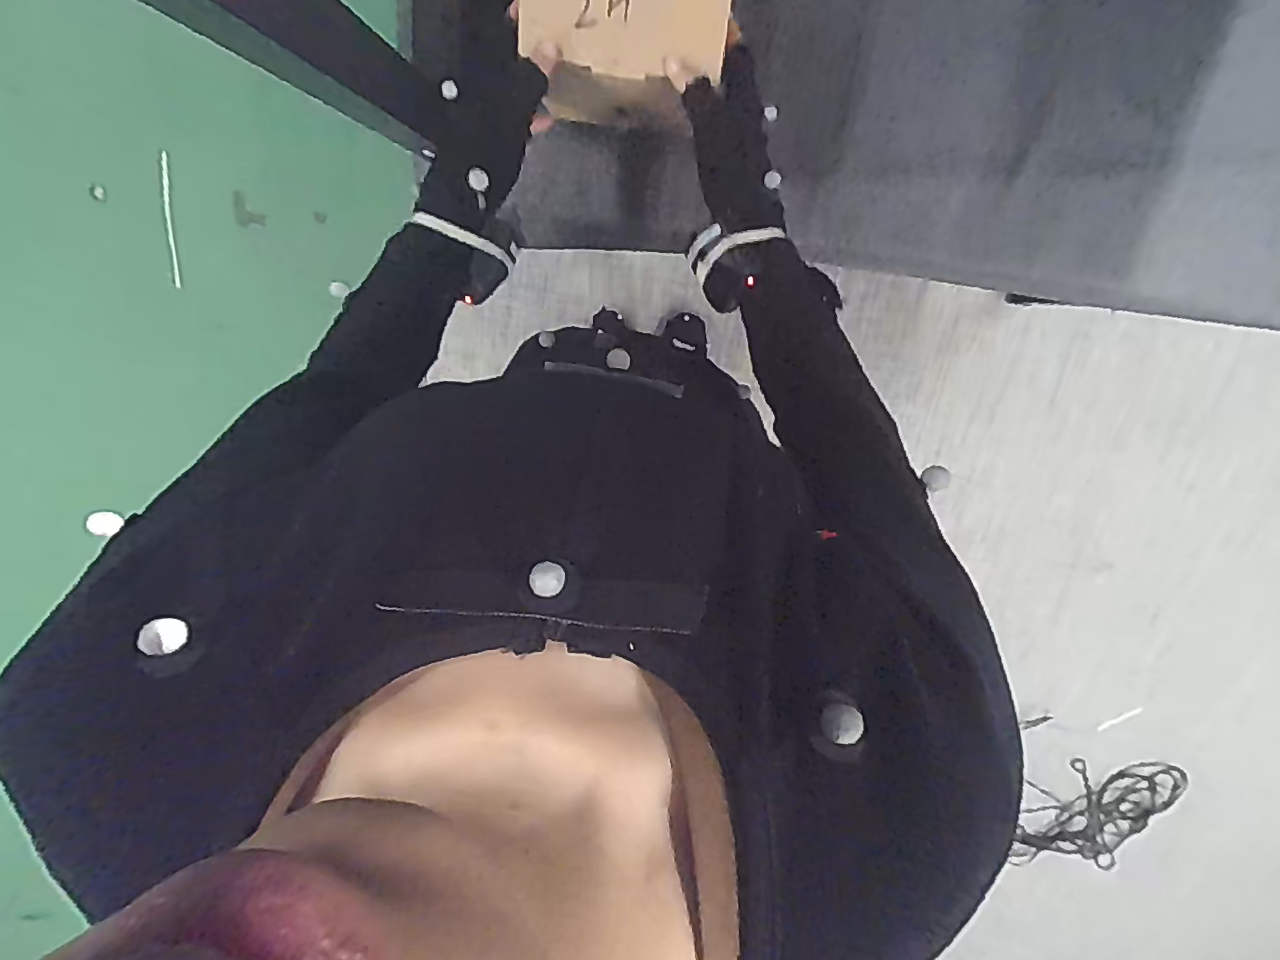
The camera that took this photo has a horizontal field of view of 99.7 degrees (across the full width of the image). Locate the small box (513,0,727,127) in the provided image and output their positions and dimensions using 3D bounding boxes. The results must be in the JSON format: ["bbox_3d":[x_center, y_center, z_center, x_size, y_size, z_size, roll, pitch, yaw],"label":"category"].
[{"bbox_3d":[-0.008,-0.441,0.474,0.168,0.176,0.179,7,111,-1],"label":"small box"}]
